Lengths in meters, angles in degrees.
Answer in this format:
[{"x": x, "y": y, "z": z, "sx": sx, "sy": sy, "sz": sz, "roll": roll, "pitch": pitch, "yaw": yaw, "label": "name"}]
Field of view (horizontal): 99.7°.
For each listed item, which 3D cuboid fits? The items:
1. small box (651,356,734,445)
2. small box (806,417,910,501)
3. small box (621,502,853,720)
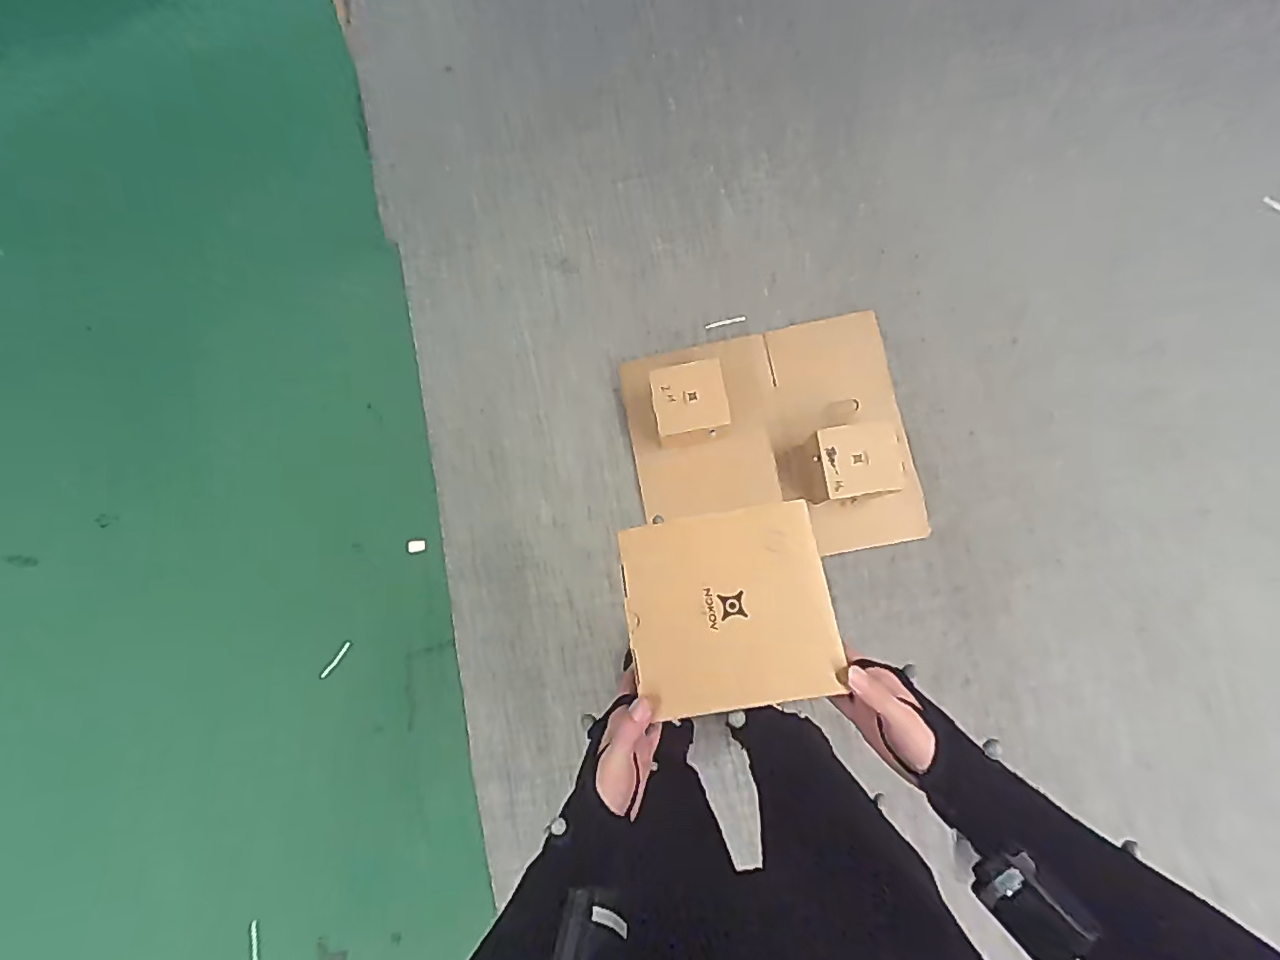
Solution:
[{"x": 0.130, "y": -0.192, "z": 1.348, "sx": 0.179, "sy": 0.176, "sz": 0.168, "roll": -10, "pitch": 82, "yaw": 5, "label": "small box"}, {"x": 0.512, "y": -0.044, "z": 1.294, "sx": 0.179, "sy": 0.176, "sz": 0.168, "roll": -8, "pitch": 82, "yaw": 5, "label": "small box"}, {"x": 0.088, "y": 0.131, "z": 0.544, "sx": 0.179, "sy": 0.176, "sz": 0.168, "roll": -11, "pitch": 73, "yaw": 5, "label": "small box"}]
